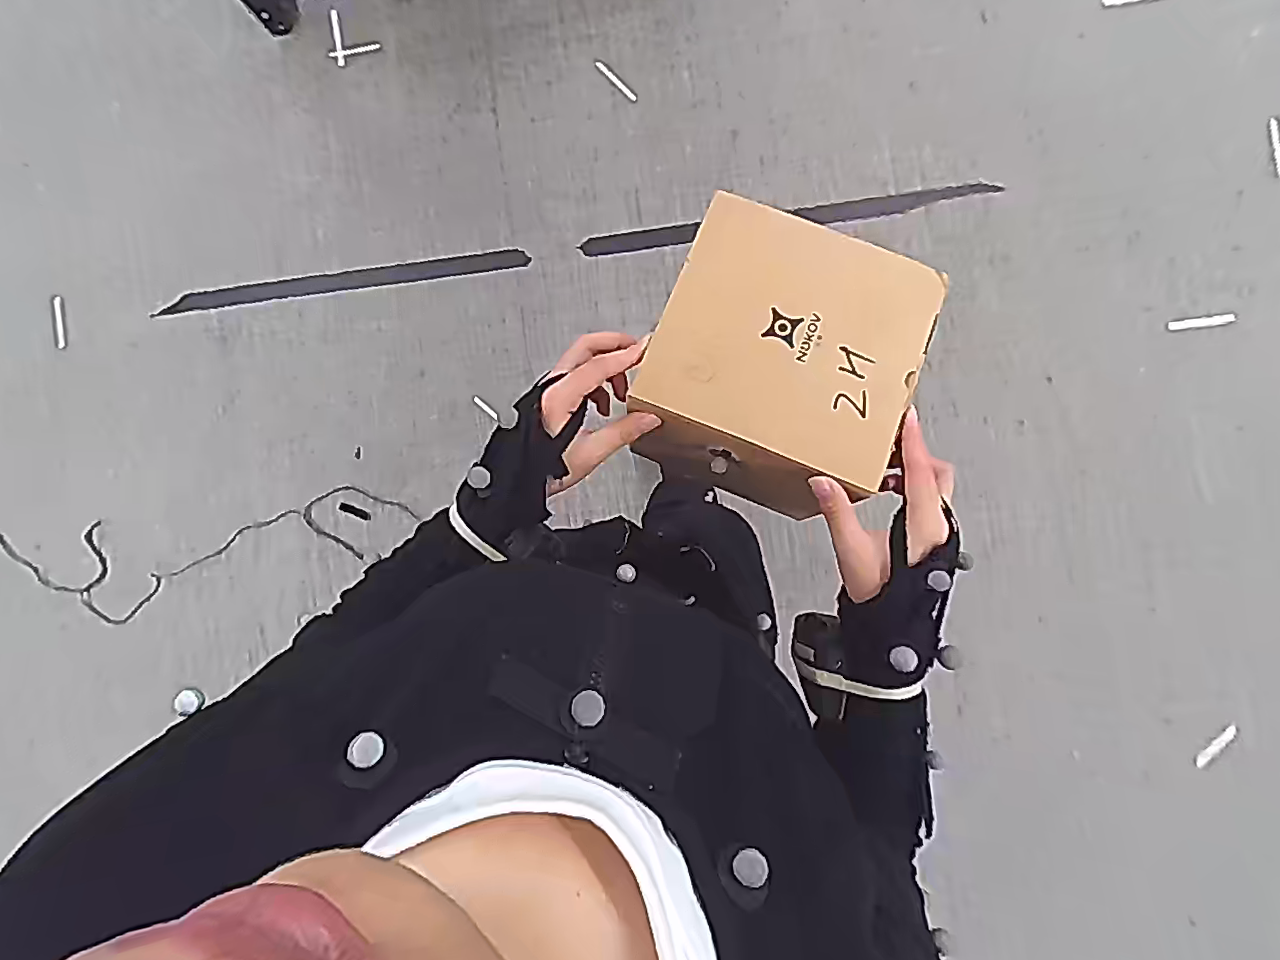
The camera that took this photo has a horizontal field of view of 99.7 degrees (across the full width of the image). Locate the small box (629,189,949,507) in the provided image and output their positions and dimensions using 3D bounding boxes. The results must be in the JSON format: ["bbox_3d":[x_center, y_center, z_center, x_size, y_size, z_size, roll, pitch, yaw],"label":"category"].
[{"bbox_3d":[0.102,-0.087,0.440,0.179,0.176,0.168,22,81,3],"label":"small box"}]
